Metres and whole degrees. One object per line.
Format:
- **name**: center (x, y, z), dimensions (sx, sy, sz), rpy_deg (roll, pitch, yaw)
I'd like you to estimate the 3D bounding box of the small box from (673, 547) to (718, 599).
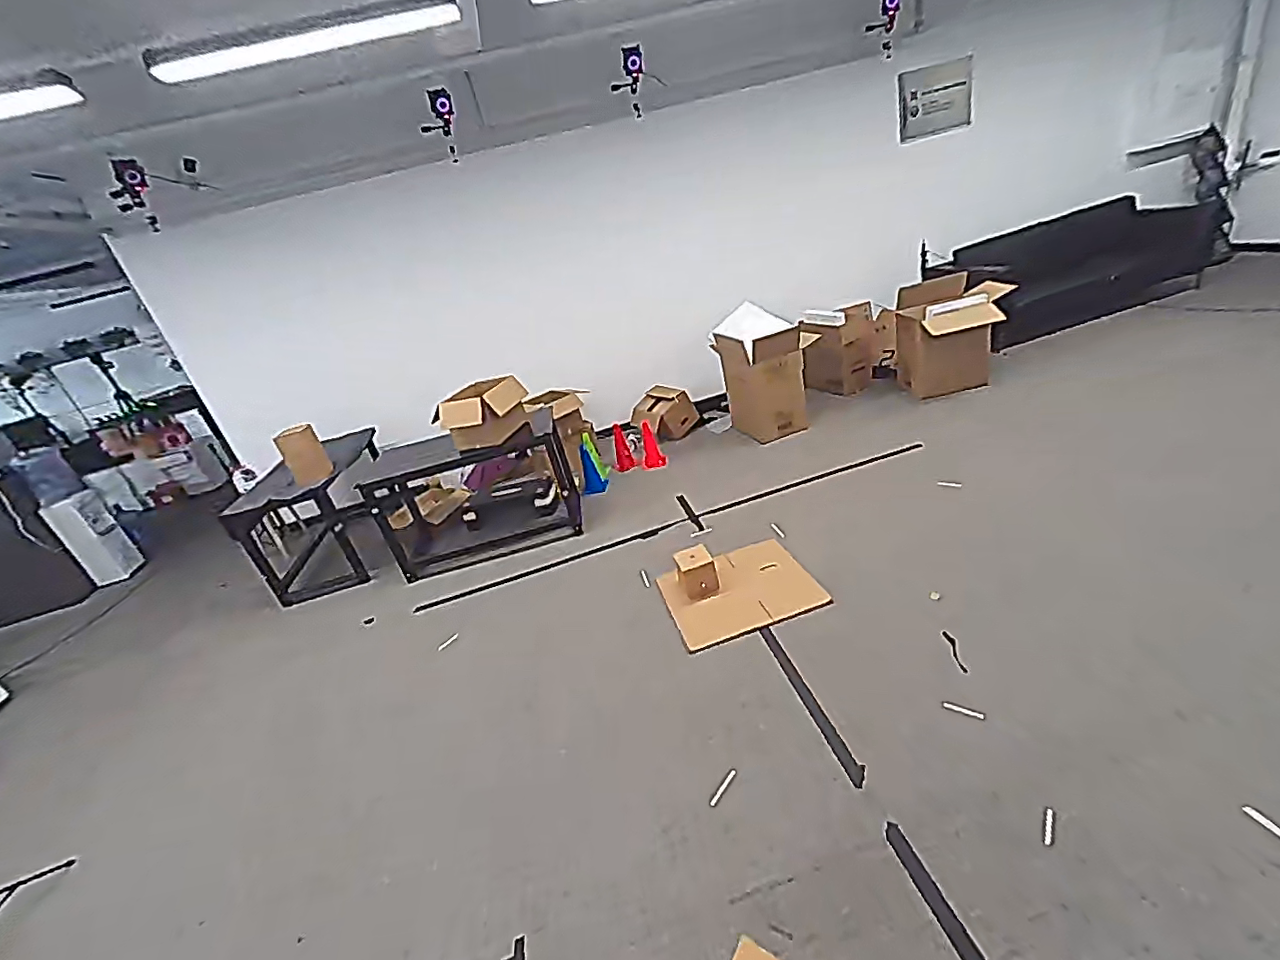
- **small box**: center (0.279, 0.472, 2.726), dimensions (0.168, 0.176, 0.179), rpy_deg (-19, 25, -7)
